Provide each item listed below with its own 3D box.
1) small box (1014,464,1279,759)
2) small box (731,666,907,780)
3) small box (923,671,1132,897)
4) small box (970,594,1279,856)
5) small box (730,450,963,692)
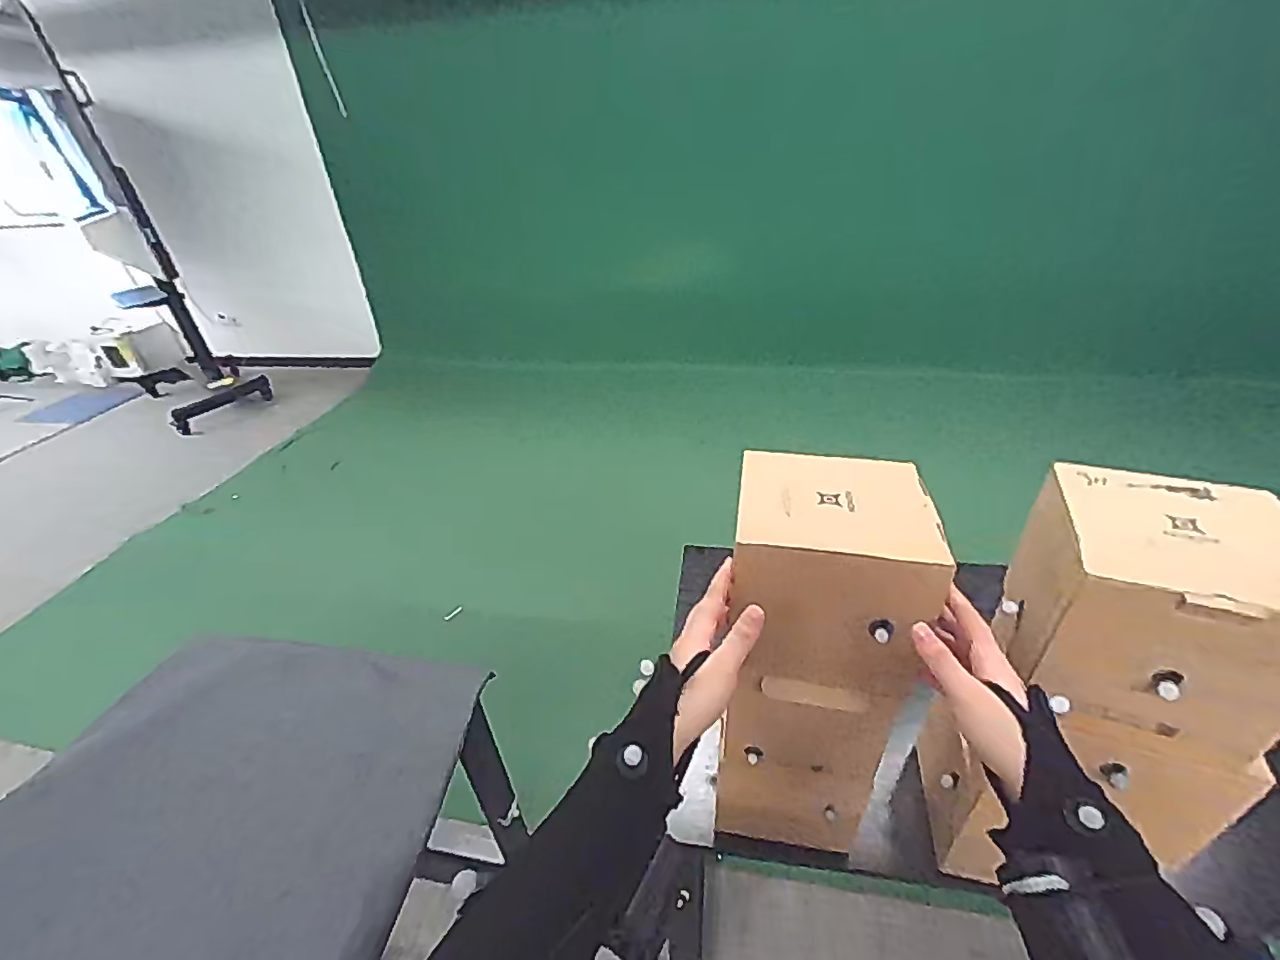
[{"bbox_3d":[0.459,0.109,0.485,0.168,0.176,0.179,10,37,23],"label":"small box"},{"bbox_3d":[0.198,0.219,0.639,0.168,0.176,0.179,5,34,12],"label":"small box"},{"bbox_3d":[0.471,0.374,0.673,0.168,0.176,0.179,6,35,13],"label":"small box"},{"bbox_3d":[0.471,0.251,0.564,0.179,0.176,0.168,10,37,20],"label":"small box"},{"bbox_3d":[0.187,0.086,0.543,0.179,0.176,0.168,4,32,12],"label":"small box"}]
